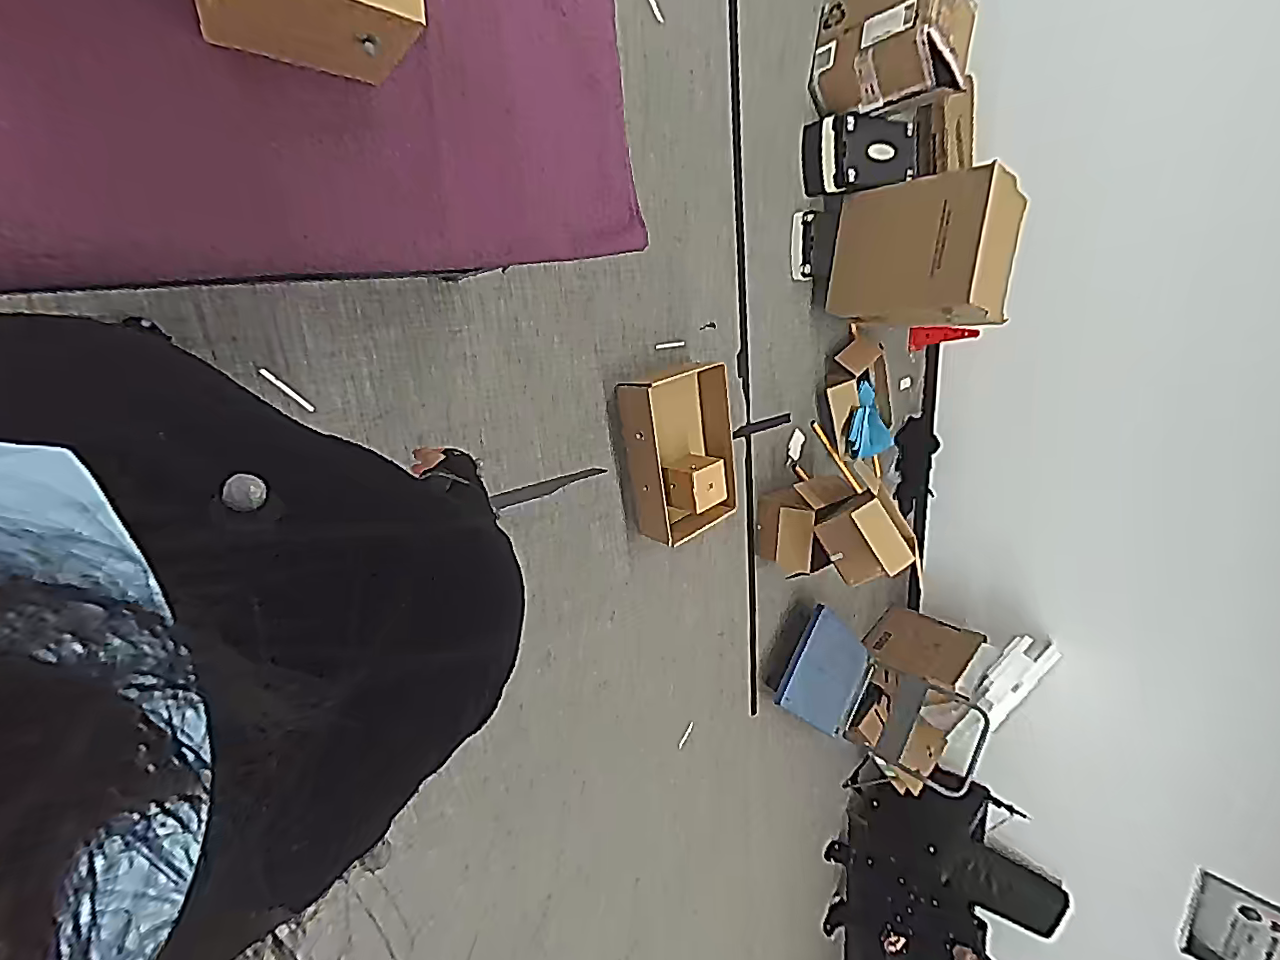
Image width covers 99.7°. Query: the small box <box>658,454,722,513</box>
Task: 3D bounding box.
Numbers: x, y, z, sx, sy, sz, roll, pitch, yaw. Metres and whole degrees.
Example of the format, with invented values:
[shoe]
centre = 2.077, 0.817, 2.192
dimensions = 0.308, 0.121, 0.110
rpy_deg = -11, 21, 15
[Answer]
[small box]
centre = 0.194, 0.007, 2.093
dimensions = 0.179, 0.176, 0.168
rpy_deg = -24, 115, -36
